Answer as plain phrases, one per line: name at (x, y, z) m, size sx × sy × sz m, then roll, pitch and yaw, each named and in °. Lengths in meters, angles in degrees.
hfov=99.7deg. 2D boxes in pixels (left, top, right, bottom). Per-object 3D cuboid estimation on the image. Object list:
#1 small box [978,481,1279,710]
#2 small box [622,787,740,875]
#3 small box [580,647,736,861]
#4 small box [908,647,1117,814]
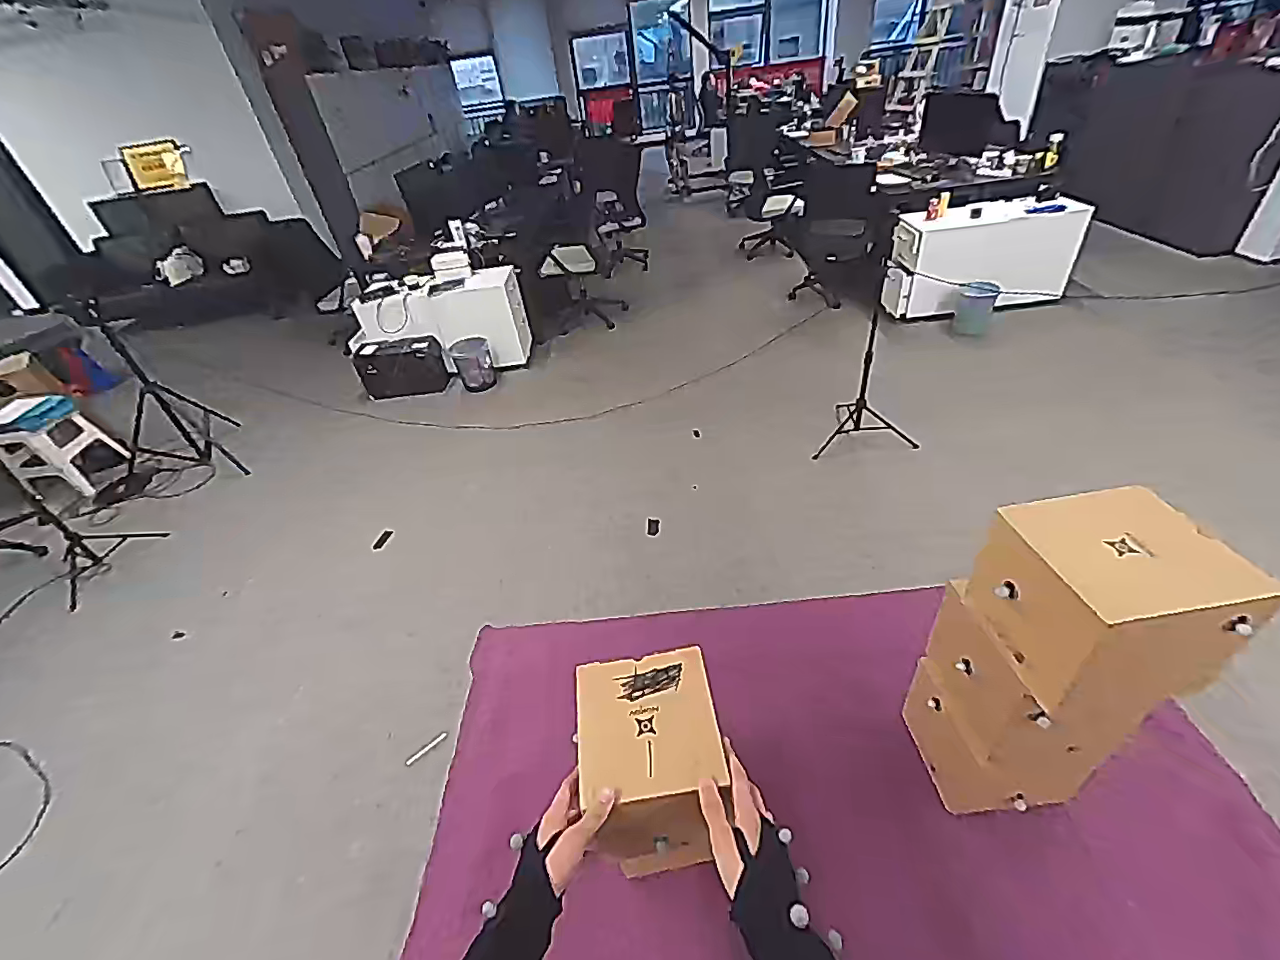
small box at (0.505, 0.127, 0.590) m, size 0.179 × 0.176 × 0.168 m, roll -9°, pitch 38°, yaw -1°
small box at (0.044, 0.451, 0.800) m, size 0.179 × 0.176 × 0.168 m, roll -10°, pitch 38°, yaw -3°
small box at (0.019, 0.341, 0.678) m, size 0.168 × 0.176 × 0.179 m, roll -10°, pitch 39°, yaw 0°
small box at (0.533, 0.372, 0.807) m, size 0.179 × 0.176 × 0.168 m, roll -7°, pitch 38°, yaw 1°
